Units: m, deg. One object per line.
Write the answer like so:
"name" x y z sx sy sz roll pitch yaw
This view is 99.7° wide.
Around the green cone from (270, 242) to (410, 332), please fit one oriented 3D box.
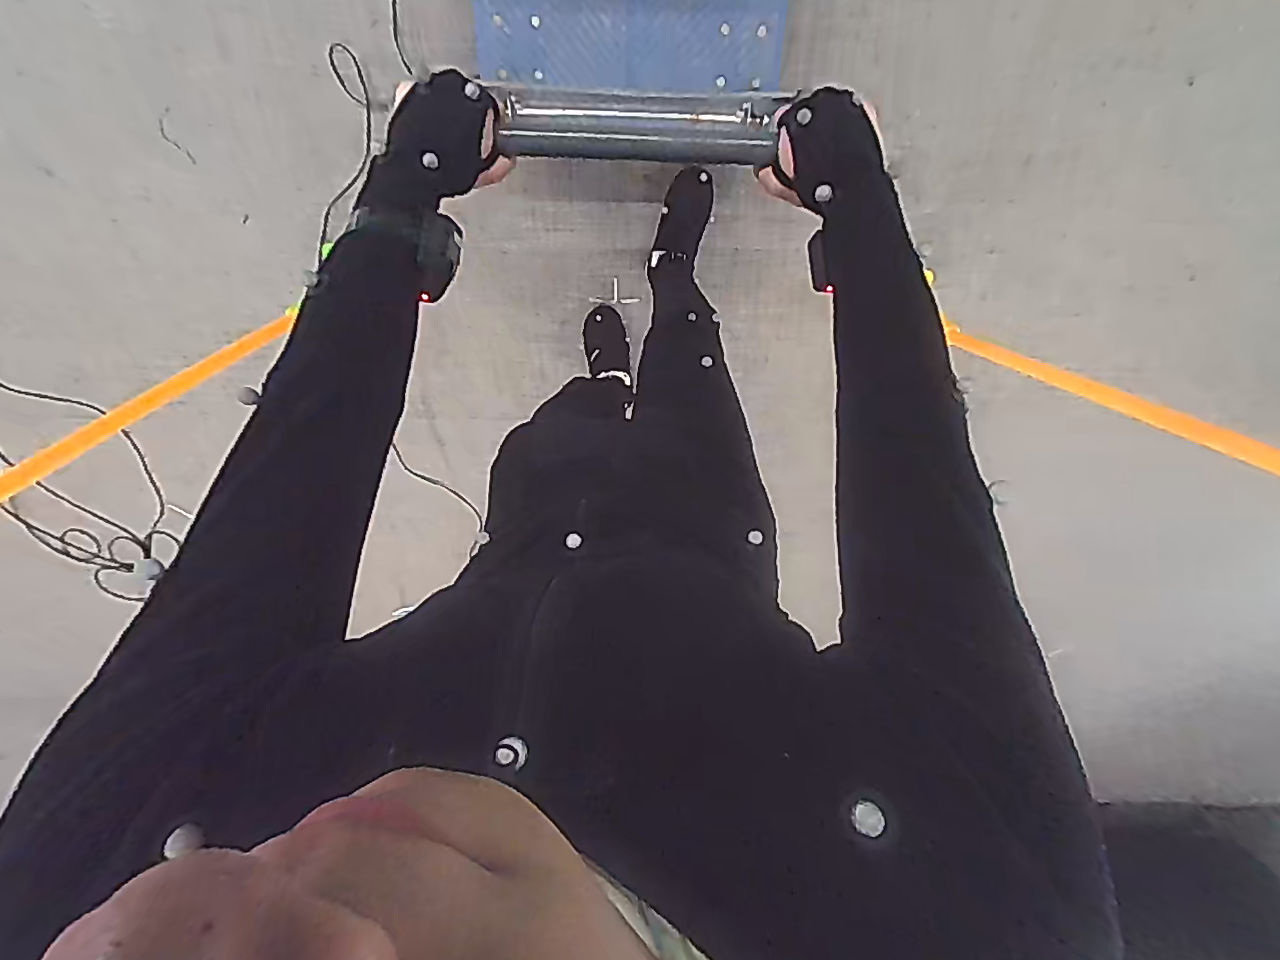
"green cone" -0.705 -0.408 1.224 0.202 0.368 0.200 -2 120 3
